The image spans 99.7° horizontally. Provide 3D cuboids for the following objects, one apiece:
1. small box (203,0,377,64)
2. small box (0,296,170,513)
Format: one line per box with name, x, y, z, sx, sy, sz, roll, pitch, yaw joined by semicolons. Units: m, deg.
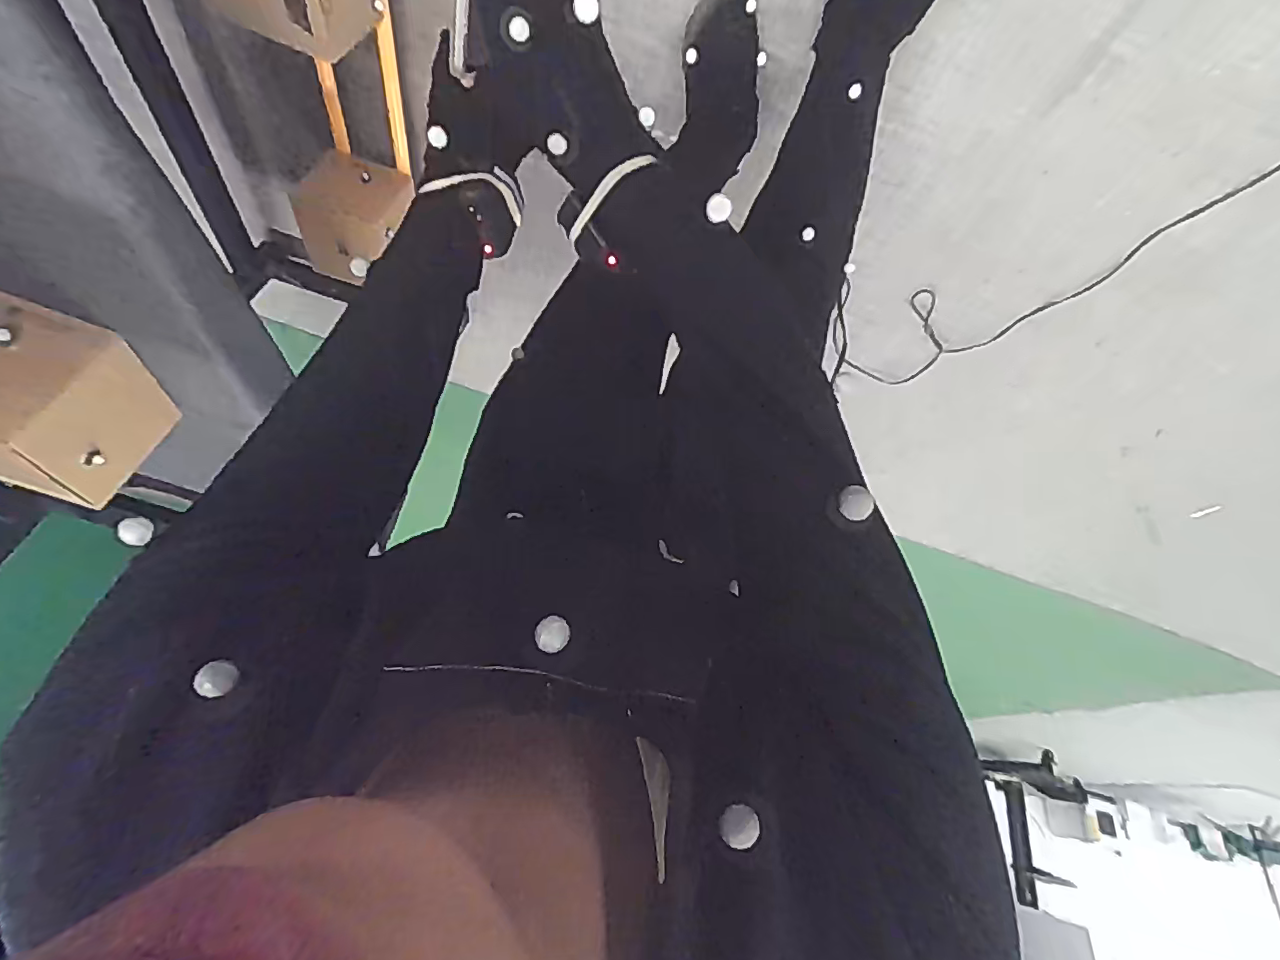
small box;-0.479;-0.724;0.733;0.179;0.176;0.168;20;148;-8
small box;-0.730;-0.090;0.649;0.168;0.176;0.179;20;149;-8
